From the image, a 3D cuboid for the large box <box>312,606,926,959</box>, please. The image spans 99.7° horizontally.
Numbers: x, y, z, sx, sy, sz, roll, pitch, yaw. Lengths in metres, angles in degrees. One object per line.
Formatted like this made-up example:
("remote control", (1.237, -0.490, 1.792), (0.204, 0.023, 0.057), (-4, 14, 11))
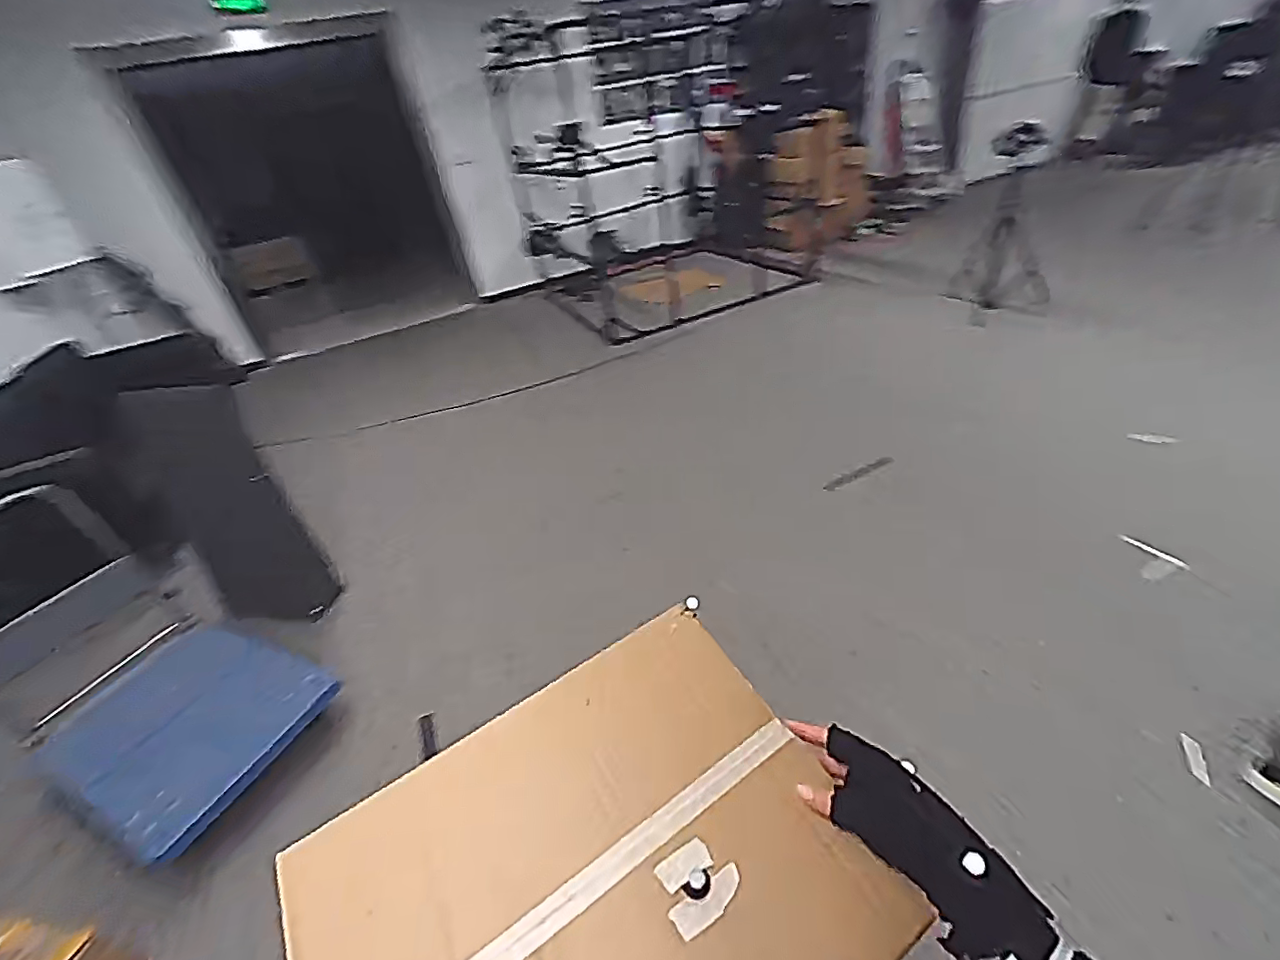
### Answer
("large box", (-0.021, 0.412, 0.533), (0.408, 0.320, 0.320), (-26, 51, -20))
